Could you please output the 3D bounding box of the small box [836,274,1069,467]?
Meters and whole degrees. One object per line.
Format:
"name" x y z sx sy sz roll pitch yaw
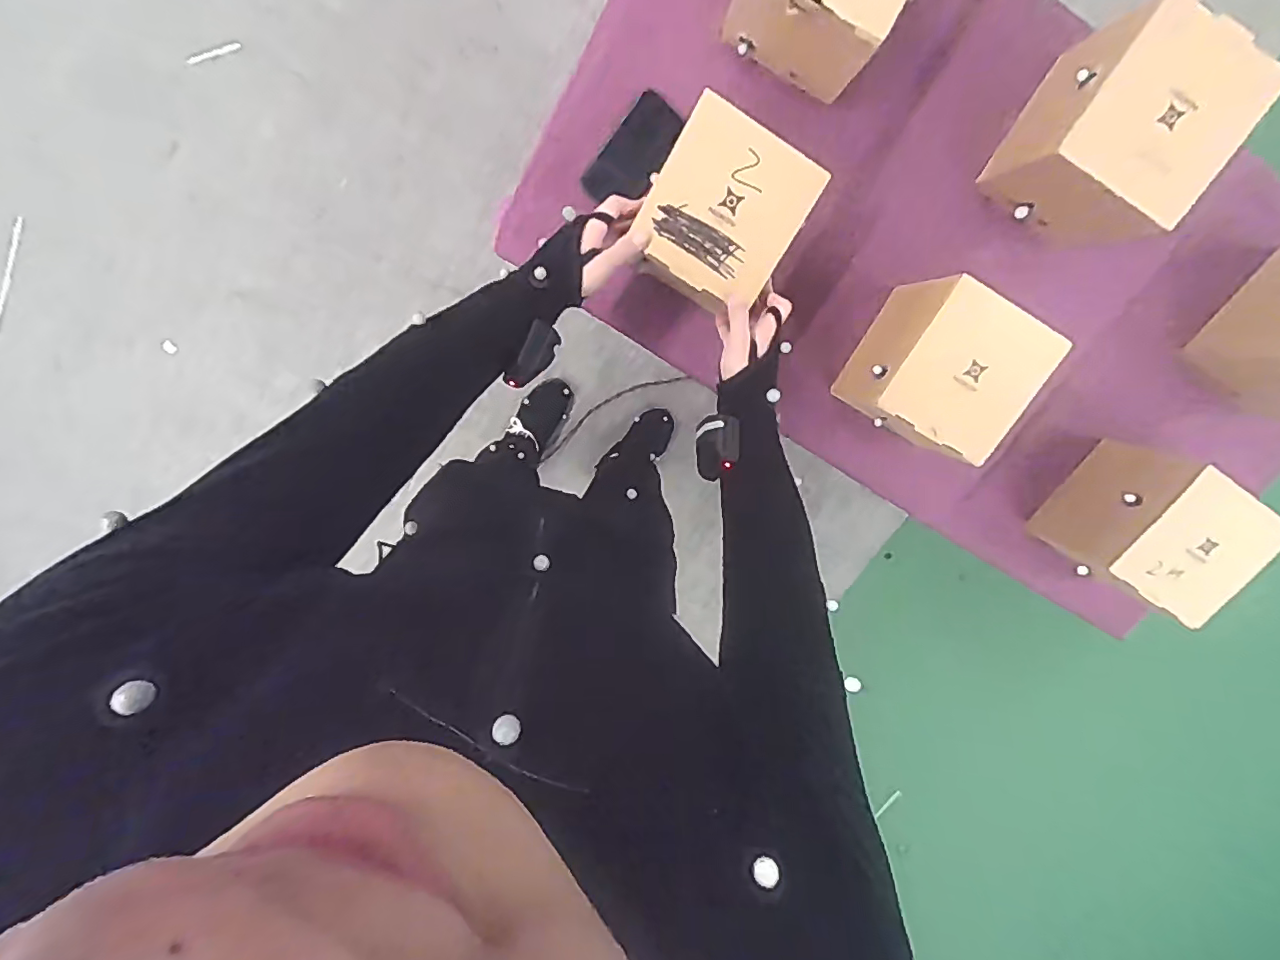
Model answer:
"small box" 0.395 -0.148 0.722 0.168 0.176 0.179 28 104 -8

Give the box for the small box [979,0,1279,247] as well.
"small box" 0.560 -0.408 0.646 0.168 0.176 0.179 30 105 -7

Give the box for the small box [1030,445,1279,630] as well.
"small box" 0.726 0.071 0.779 0.168 0.176 0.179 33 104 -7

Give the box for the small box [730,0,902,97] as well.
"small box" 0.213 -0.576 0.597 0.168 0.176 0.179 26 104 -7
